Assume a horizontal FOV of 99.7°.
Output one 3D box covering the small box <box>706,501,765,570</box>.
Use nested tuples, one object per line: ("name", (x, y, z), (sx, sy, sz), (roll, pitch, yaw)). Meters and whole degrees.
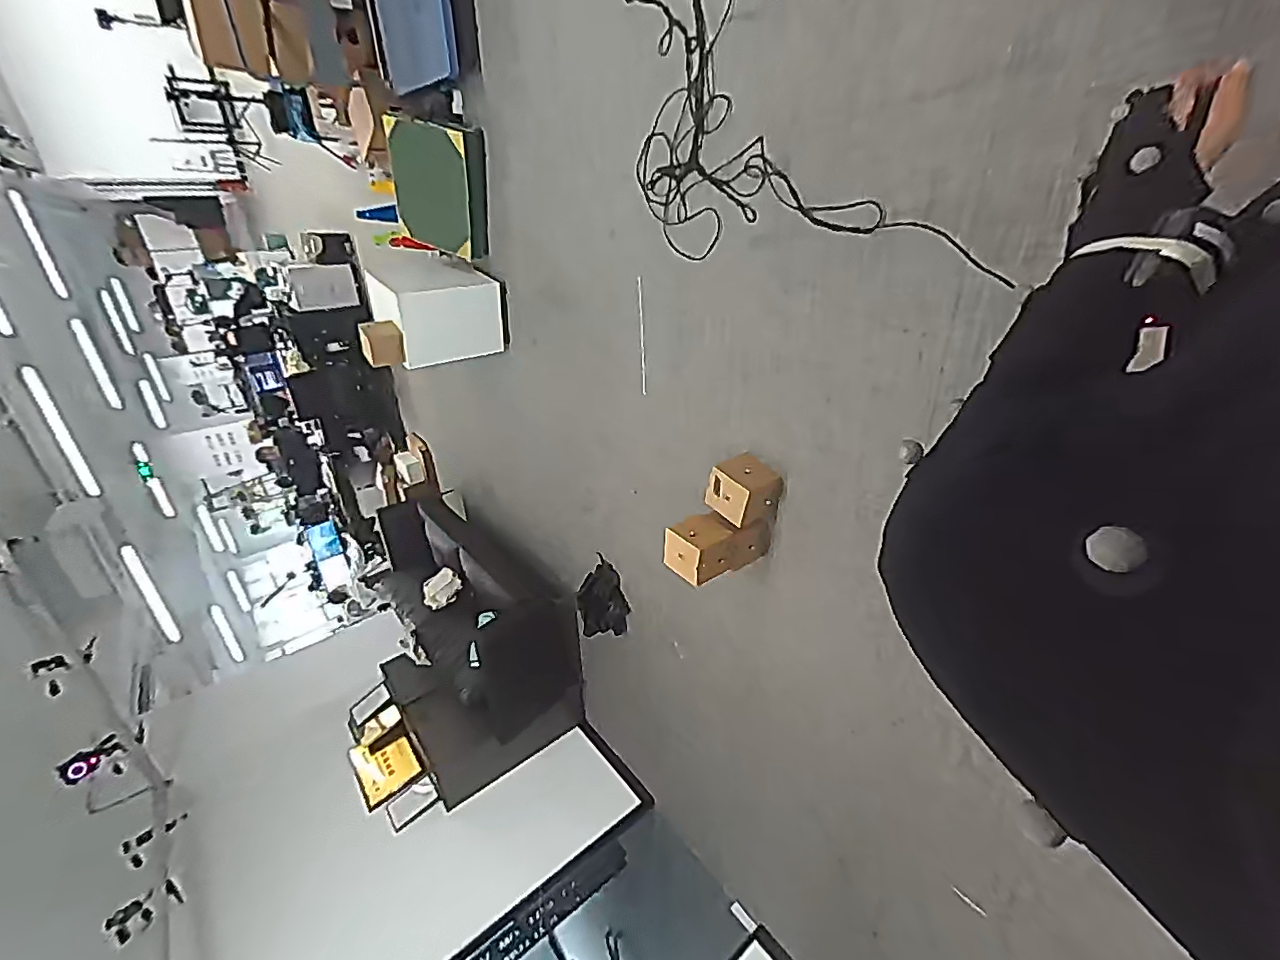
("small box", (0.346, 0.200, 2.030), (0.179, 0.176, 0.168), (31, 132, 42))

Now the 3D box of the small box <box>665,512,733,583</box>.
("small box", (0.211, 0.234, 1.945), (0.179, 0.176, 0.168), (31, 131, 42))
